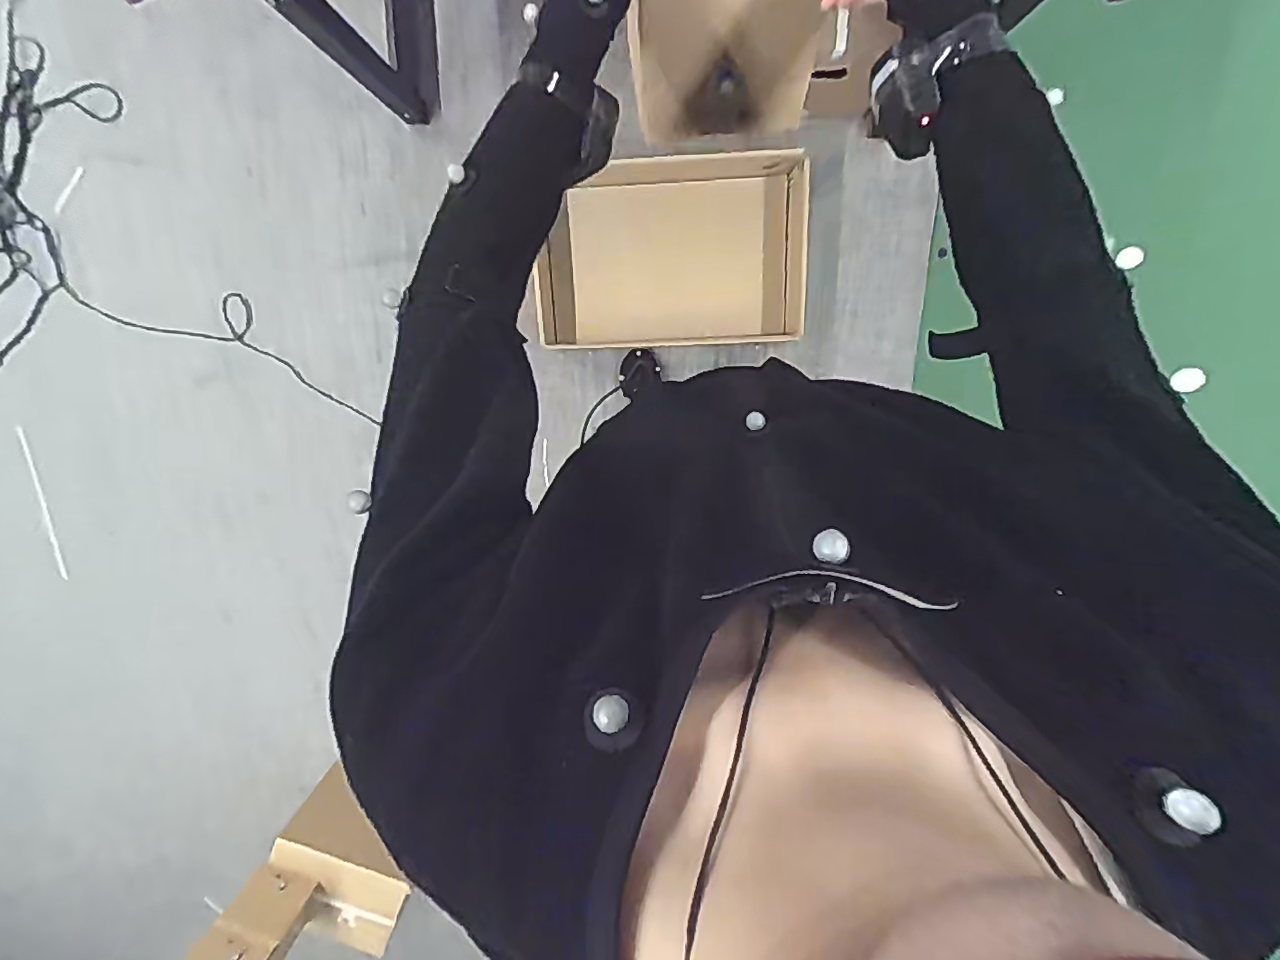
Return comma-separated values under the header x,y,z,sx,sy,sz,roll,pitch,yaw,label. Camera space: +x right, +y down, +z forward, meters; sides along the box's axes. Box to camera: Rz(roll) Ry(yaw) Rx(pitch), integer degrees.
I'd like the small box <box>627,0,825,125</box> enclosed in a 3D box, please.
x,y,z,sx,sy,sz,roll,pitch,yaw,label
0.073,-0.478,0.513,0.168,0.176,0.179,-5,69,-1,small box

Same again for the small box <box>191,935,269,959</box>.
x,y,z,sx,sy,sz,roll,pitch,yaw,label
-1.030,1.257,1.295,0.168,0.176,0.179,19,103,-2,small box
